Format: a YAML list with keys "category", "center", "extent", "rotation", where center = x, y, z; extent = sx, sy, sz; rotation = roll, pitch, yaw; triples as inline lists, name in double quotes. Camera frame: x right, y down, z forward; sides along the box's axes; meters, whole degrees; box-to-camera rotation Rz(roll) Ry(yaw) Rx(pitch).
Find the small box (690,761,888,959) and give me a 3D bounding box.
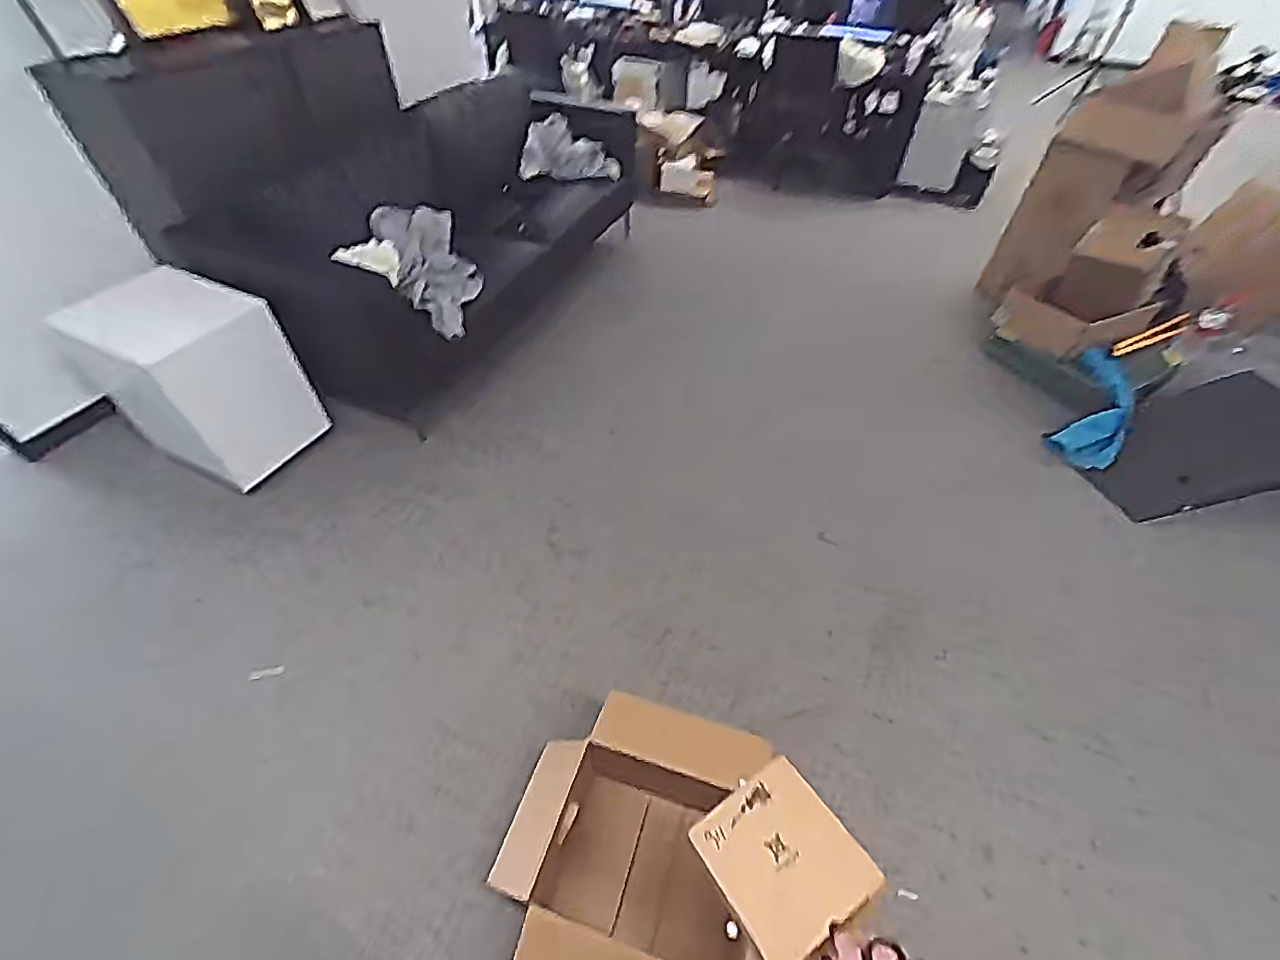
- category: "small box"
  center: [0.186, 0.516, 0.703]
  extent: [0.168, 0.176, 0.179]
  rotation: [-26, 42, -16]
